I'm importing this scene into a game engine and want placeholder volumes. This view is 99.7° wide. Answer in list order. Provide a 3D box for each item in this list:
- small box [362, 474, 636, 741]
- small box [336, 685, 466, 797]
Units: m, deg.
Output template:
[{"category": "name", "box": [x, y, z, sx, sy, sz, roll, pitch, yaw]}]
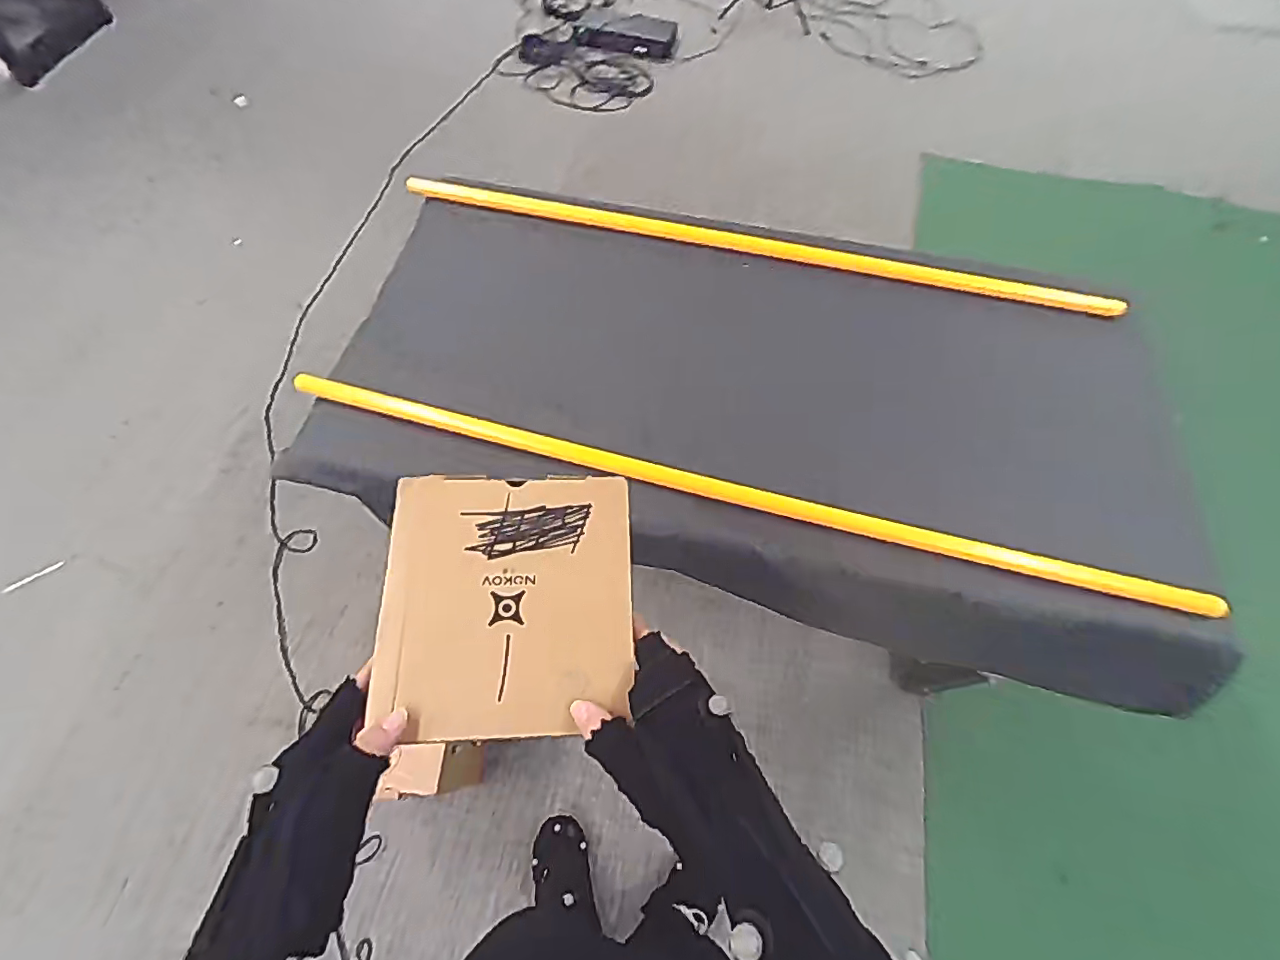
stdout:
[{"category": "small box", "box": [-0.092, 0.110, 0.433, 0.168, 0.176, 0.179, 1, 67, -5]}, {"category": "small box", "box": [-0.427, 0.487, 1.012, 0.168, 0.176, 0.179, 1, 62, 0]}]
